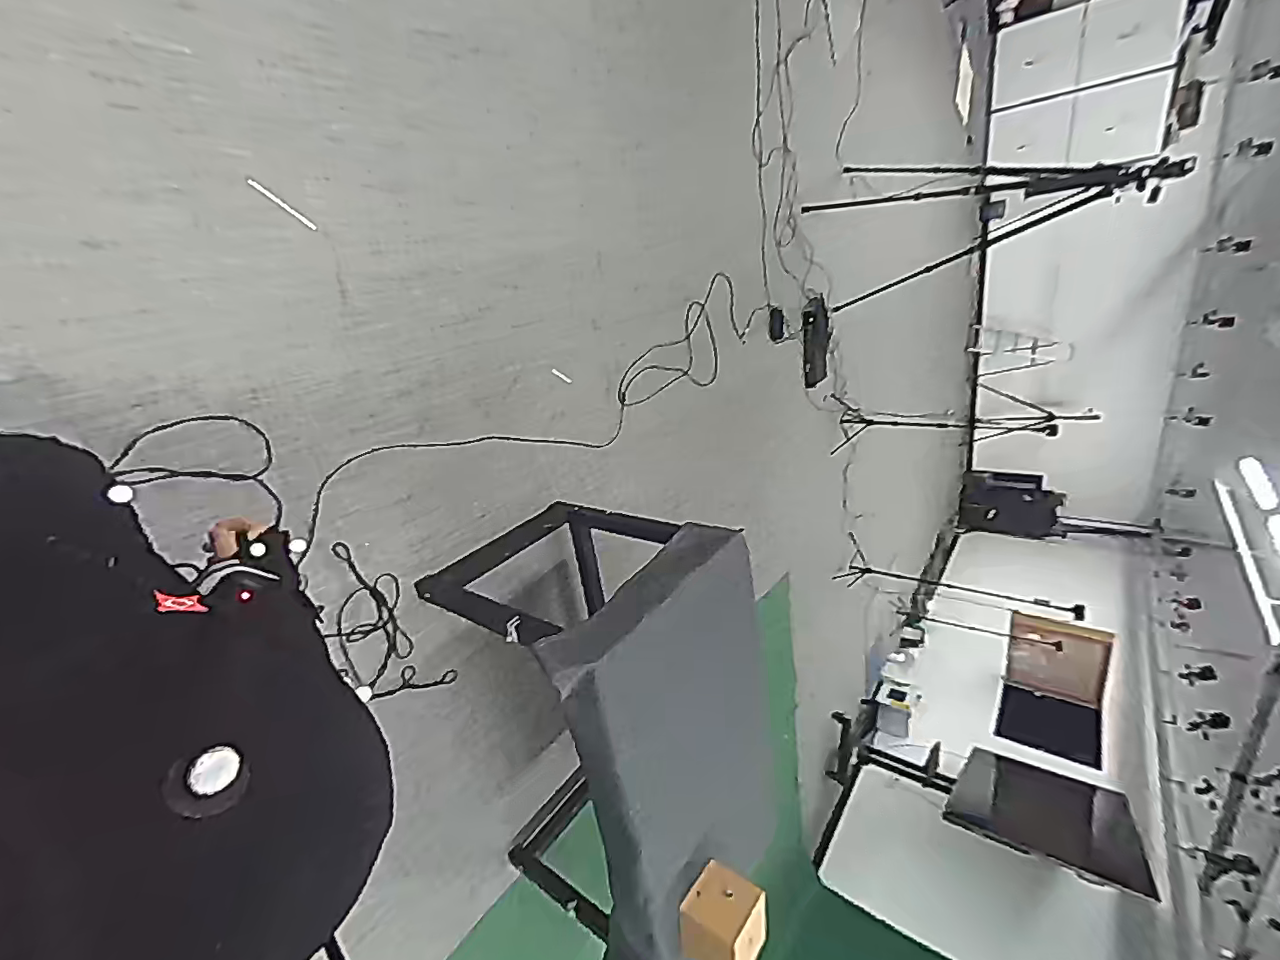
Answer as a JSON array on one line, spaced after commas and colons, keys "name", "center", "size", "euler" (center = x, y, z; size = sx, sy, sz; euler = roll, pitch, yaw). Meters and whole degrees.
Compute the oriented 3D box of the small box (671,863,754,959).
[{"name": "small box", "center": [0.195, 1.181, 1.455], "size": [0.168, 0.176, 0.179], "euler": [-23, 115, -49]}]
